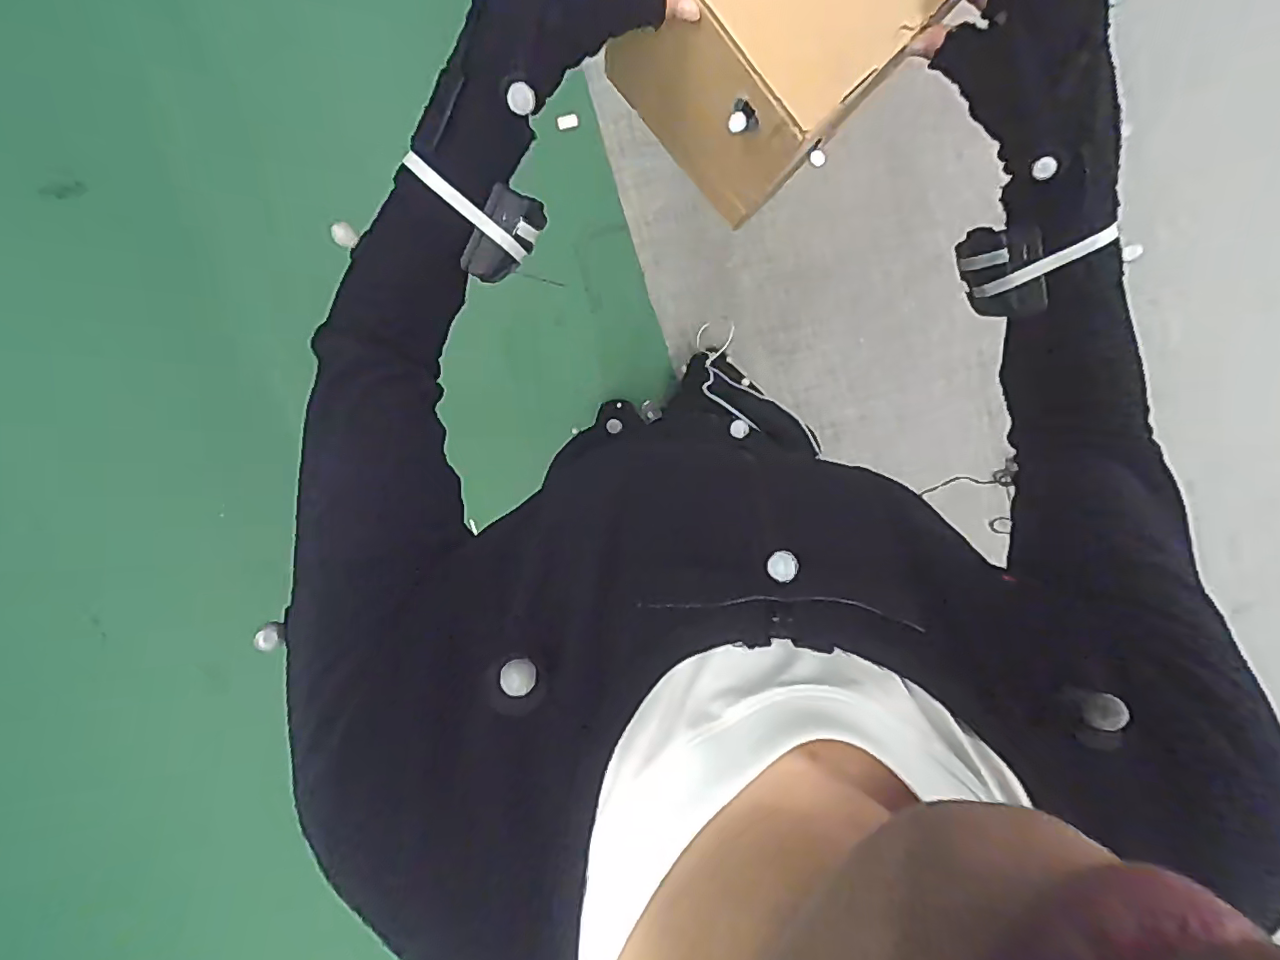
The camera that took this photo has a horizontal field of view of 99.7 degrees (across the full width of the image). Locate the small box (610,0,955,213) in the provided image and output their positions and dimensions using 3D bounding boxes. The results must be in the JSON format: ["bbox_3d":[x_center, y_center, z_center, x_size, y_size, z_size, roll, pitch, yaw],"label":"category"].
[{"bbox_3d":[0.092,-0.340,0.399,0.168,0.176,0.179,-43,100,1],"label":"small box"}]
